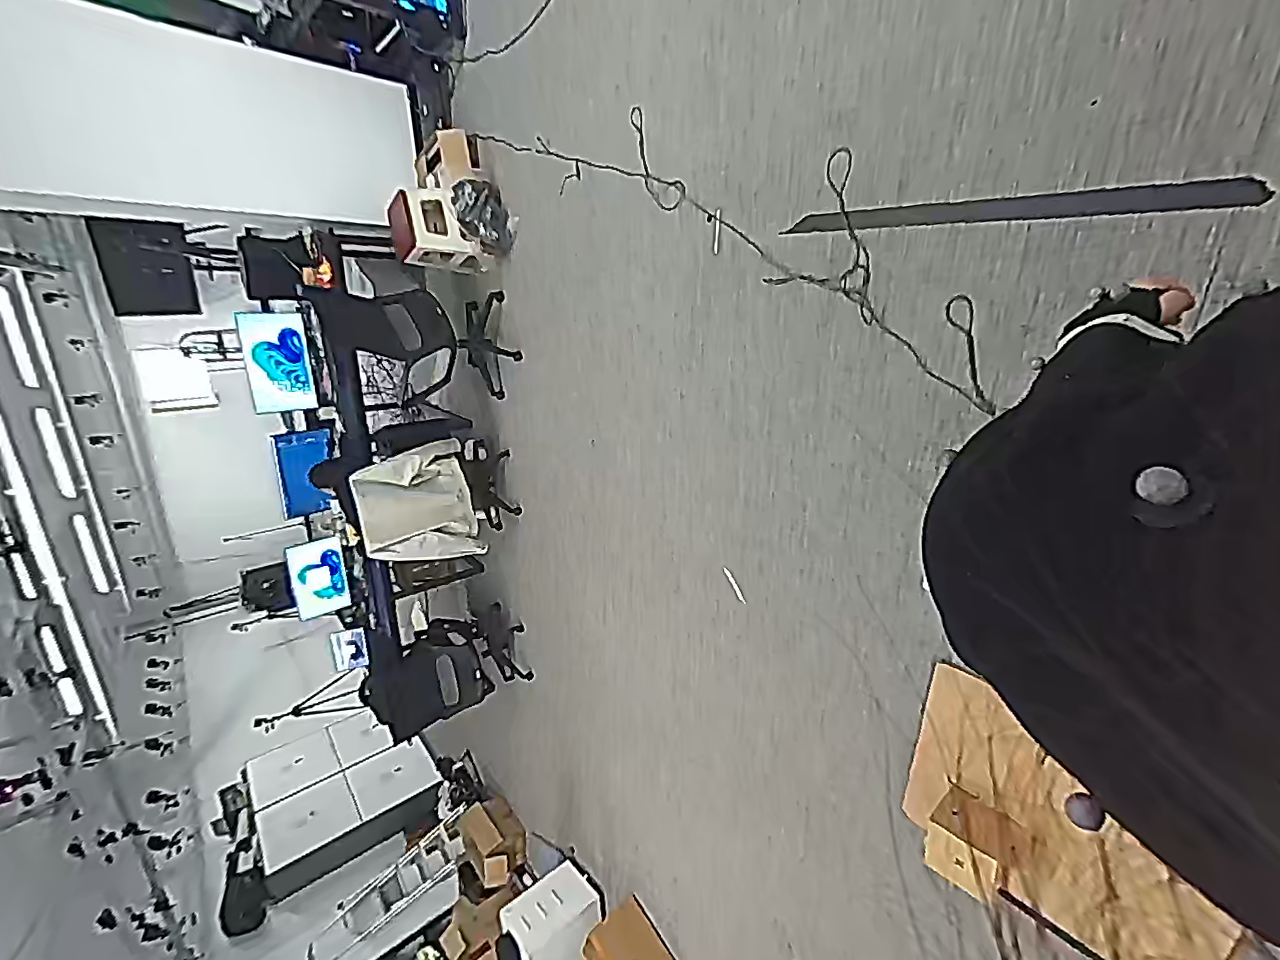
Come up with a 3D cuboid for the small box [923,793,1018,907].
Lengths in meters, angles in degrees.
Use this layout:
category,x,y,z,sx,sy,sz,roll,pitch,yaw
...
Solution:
category,x,y,z,sx,sy,sz,roll,pitch,yaw
small box,0.931,1.026,1.524,0.179,0.176,0.168,14,114,47
